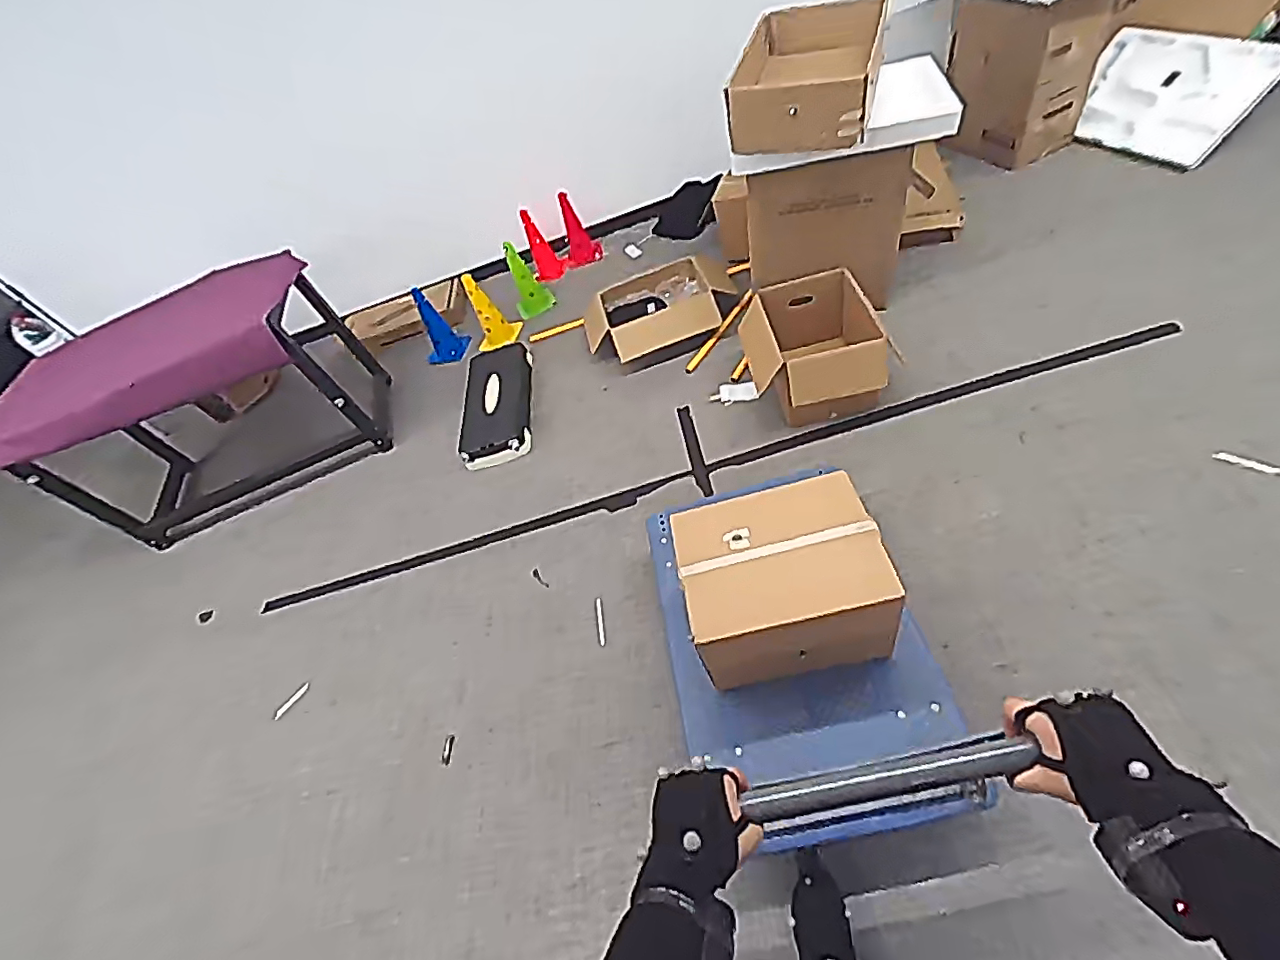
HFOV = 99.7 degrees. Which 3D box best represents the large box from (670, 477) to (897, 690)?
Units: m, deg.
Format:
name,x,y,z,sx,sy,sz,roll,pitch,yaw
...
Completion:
name,x,y,z,sx,sy,sz,roll,pitch,yaw
large box,0.319,0.249,1.249,0.408,0.320,0.320,-16,49,8
